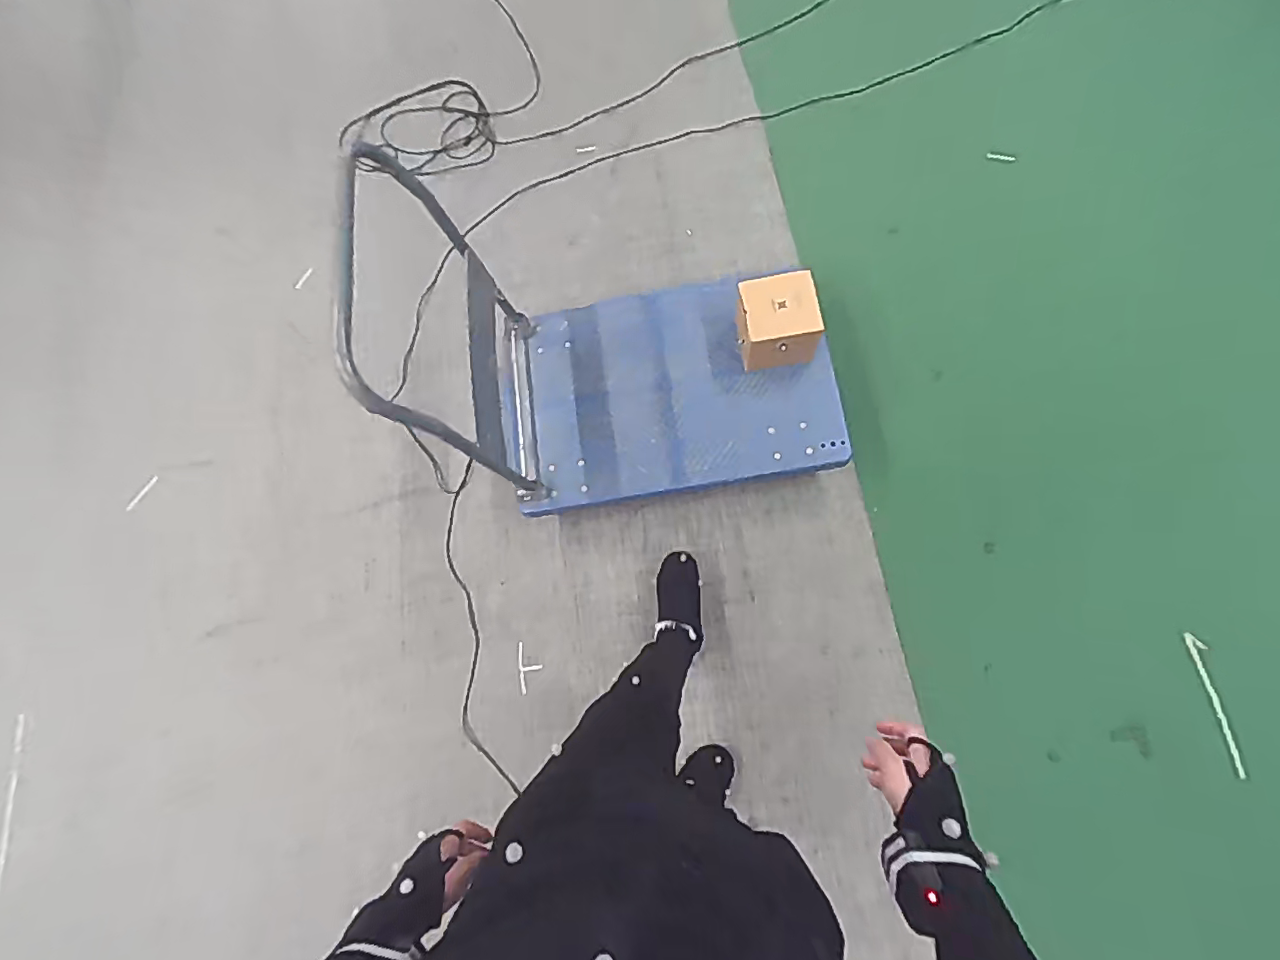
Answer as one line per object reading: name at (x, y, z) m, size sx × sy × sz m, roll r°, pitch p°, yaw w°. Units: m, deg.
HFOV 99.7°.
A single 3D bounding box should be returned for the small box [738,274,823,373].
small box at (0.344, -0.385, 1.361) m, size 0.179 × 0.176 × 0.168 m, roll -8°, pitch 74°, yaw 5°
